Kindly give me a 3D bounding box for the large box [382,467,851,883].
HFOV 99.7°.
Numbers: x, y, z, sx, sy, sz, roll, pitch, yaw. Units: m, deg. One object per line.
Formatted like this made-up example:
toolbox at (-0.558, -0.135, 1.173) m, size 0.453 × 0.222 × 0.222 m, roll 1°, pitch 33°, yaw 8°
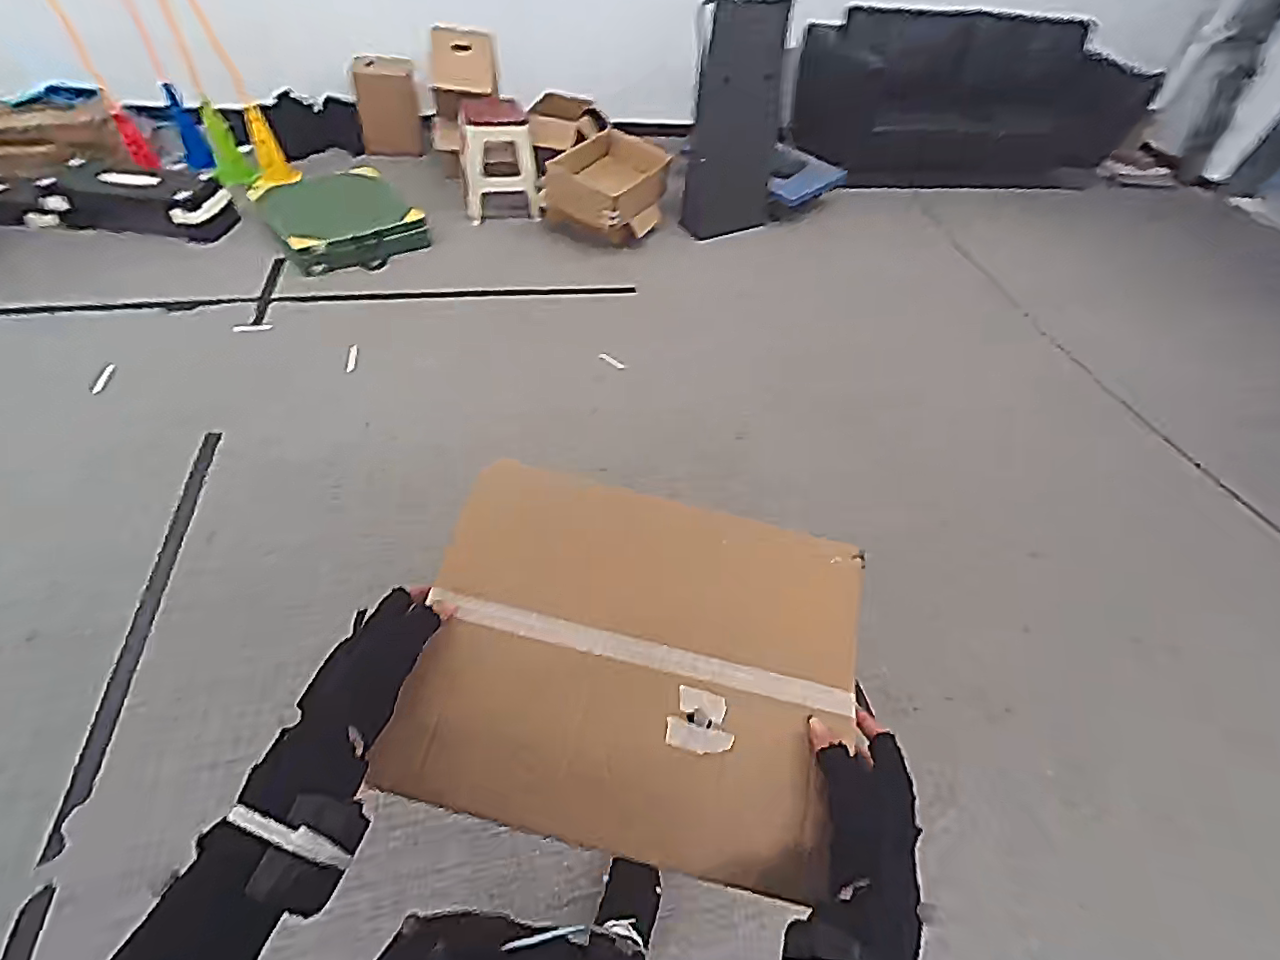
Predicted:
large box at (-0.012, 0.224, 0.653) m, size 0.408 × 0.320 × 0.320 m, roll 14°, pitch 65°, yaw 1°
